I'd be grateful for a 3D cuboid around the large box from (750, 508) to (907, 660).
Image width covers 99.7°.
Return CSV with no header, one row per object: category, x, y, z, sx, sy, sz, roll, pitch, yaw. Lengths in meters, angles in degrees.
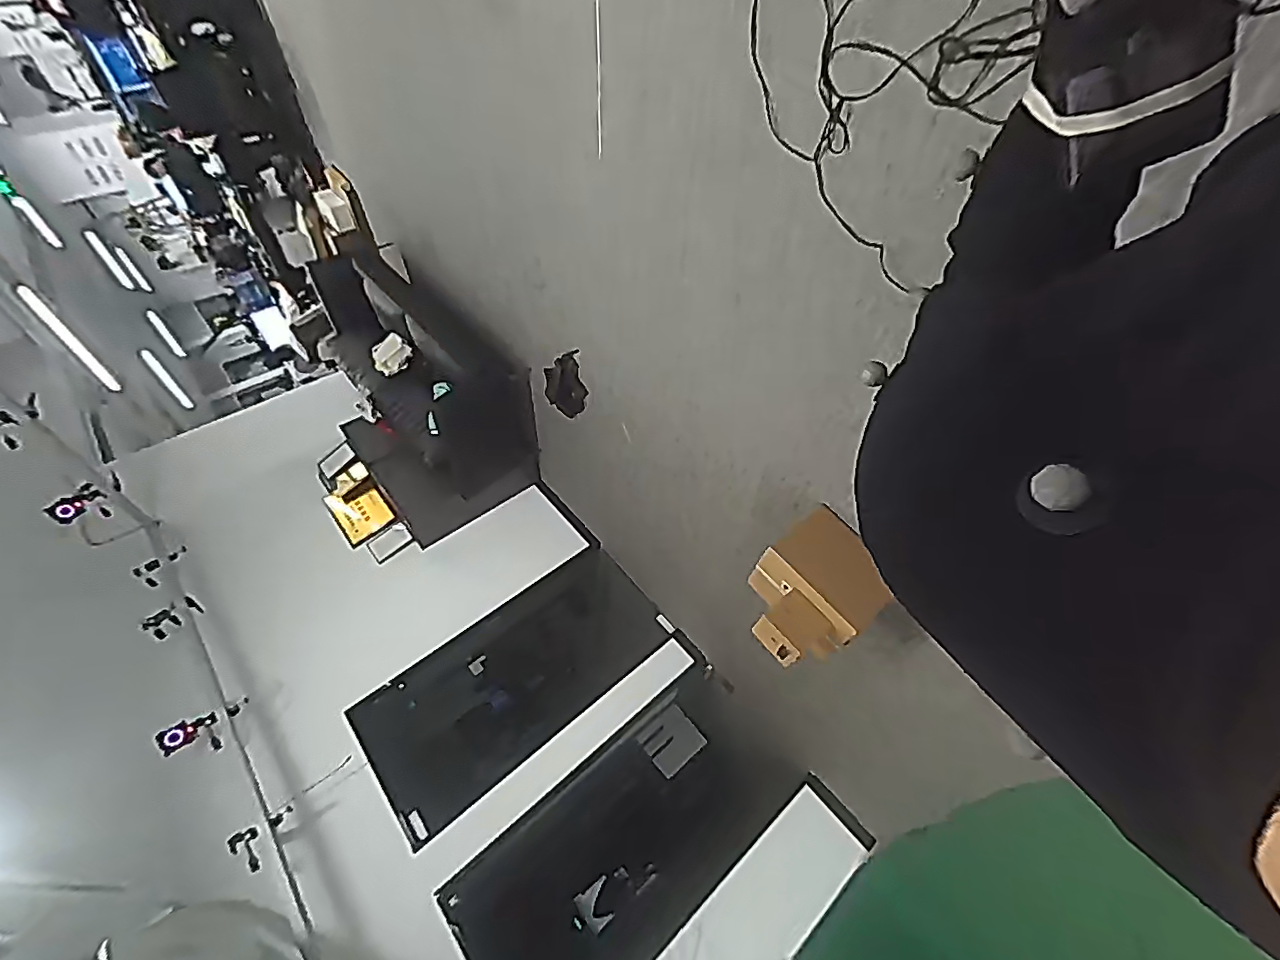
large box,0.693,0.387,2.033,0.408,0.320,0.320,48,152,23
